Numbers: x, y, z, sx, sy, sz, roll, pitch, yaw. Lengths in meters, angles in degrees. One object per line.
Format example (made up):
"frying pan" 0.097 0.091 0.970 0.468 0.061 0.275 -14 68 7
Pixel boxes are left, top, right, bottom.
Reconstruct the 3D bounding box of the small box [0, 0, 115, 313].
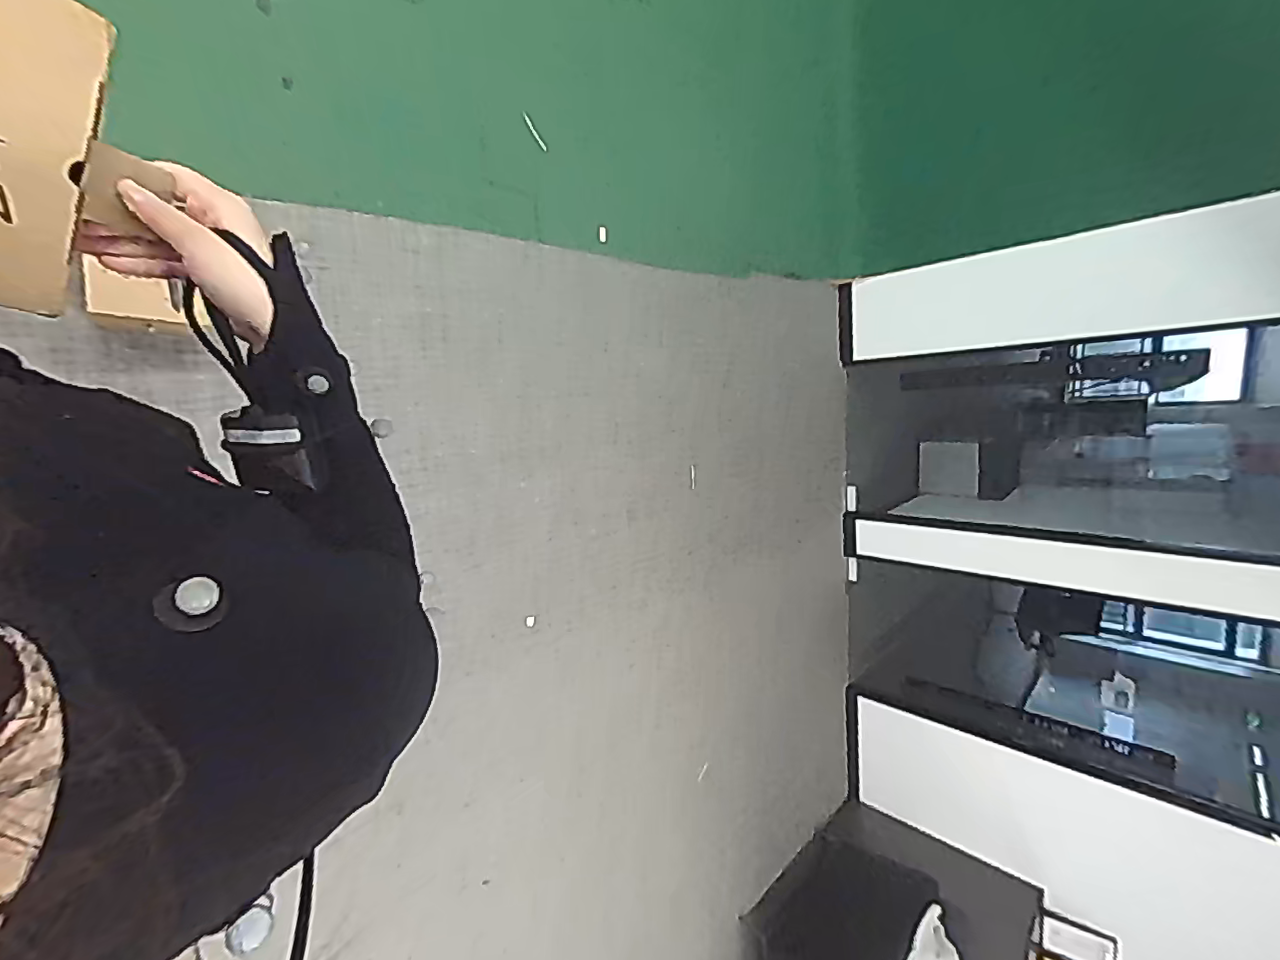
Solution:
"small box" -0.413 -0.204 0.274 0.179 0.176 0.168 8 105 -53
